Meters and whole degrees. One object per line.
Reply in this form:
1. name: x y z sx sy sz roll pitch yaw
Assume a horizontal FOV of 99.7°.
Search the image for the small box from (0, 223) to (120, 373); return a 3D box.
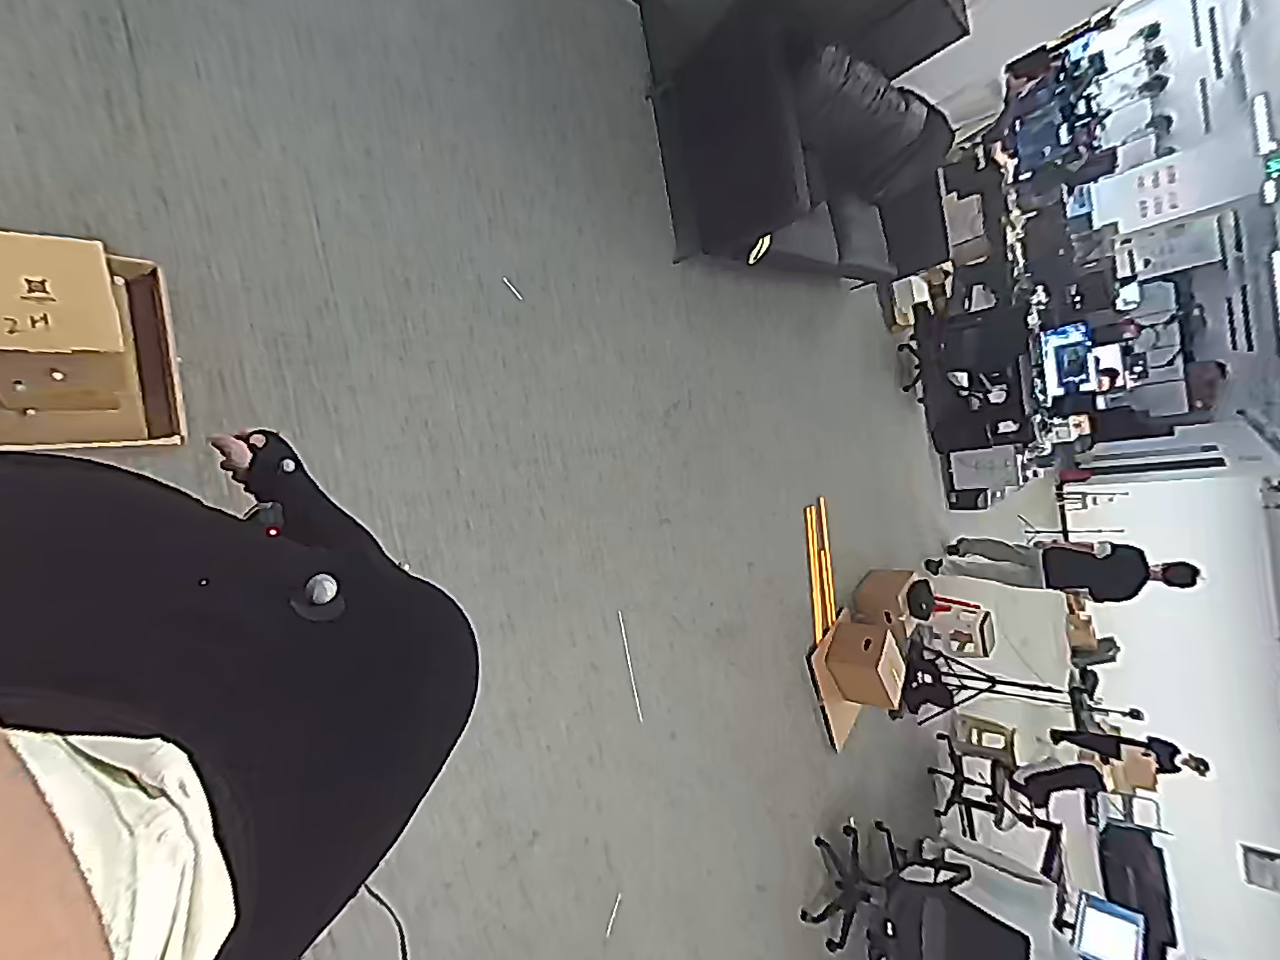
1. small box: -0.929 -0.271 0.829 0.168 0.176 0.179 -12 93 -44
